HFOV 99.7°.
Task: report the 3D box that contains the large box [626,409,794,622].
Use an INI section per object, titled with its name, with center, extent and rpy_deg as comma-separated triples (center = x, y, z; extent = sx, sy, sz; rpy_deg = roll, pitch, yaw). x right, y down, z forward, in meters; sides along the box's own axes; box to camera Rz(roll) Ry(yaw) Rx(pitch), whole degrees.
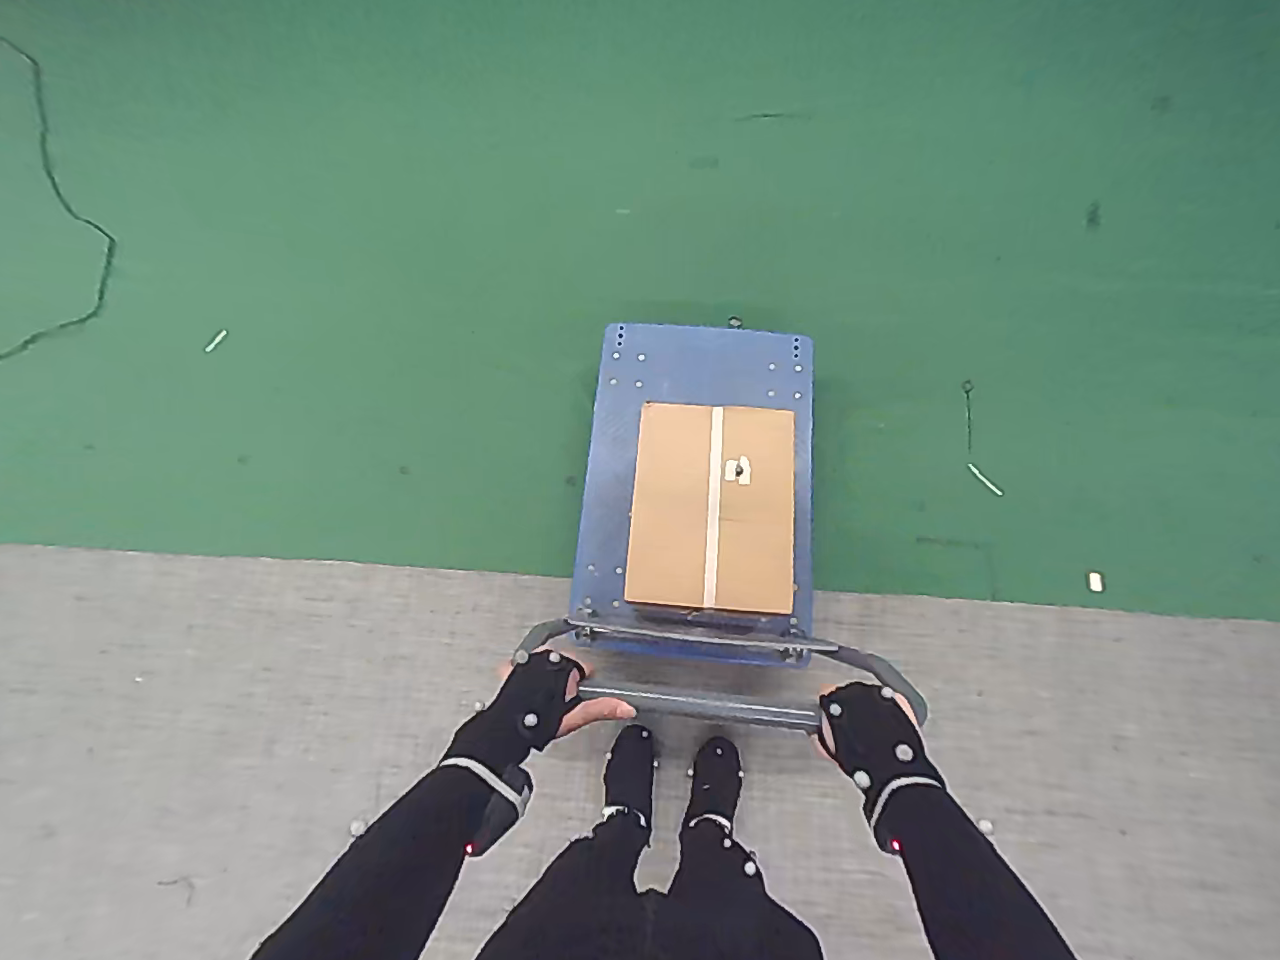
[large box]
center = 0.149, 0.096, 1.195
extent = 0.320, 0.320, 0.408
rpy_deg = 4, 73, 3
